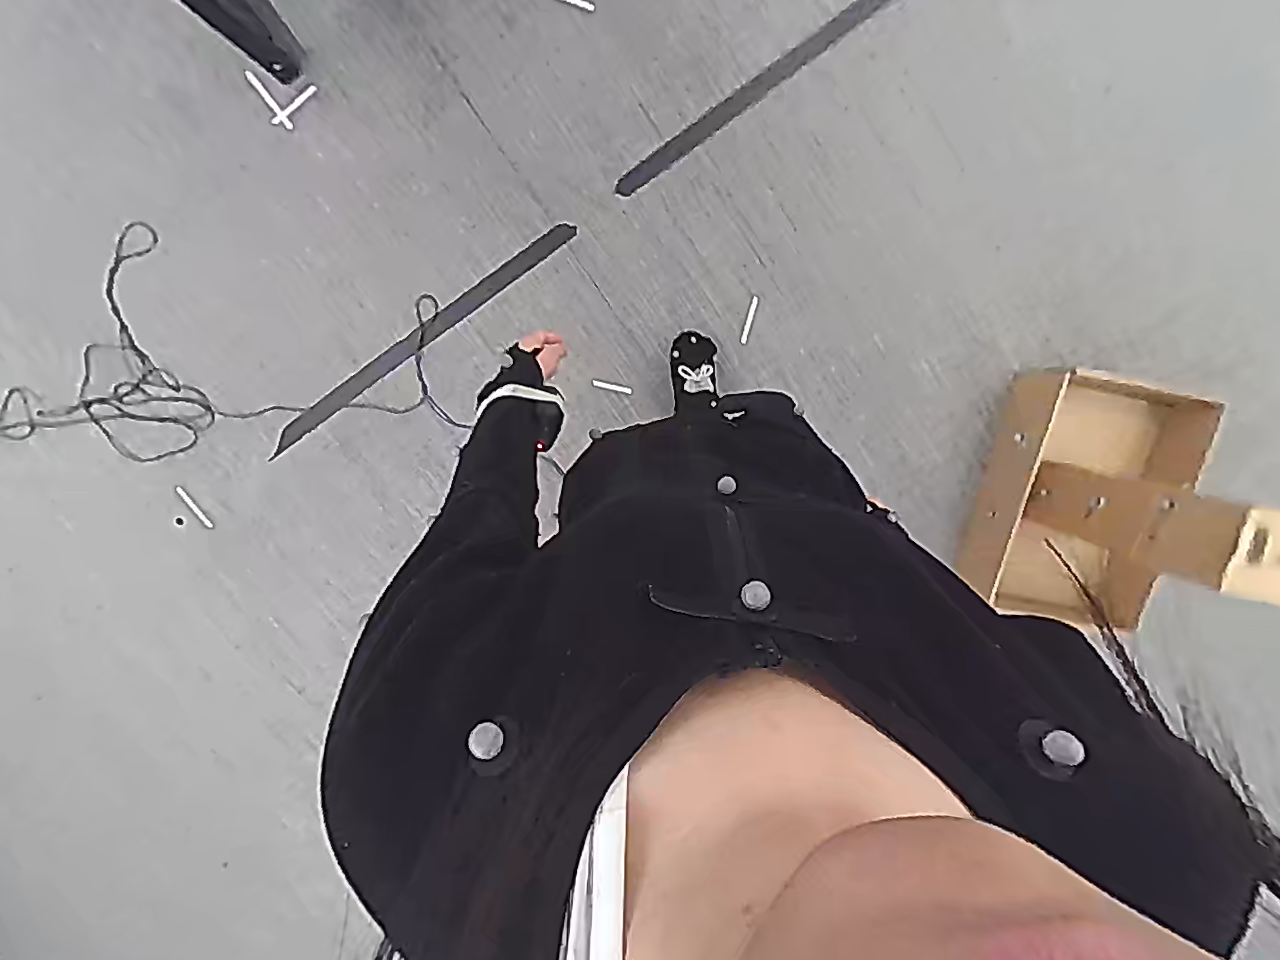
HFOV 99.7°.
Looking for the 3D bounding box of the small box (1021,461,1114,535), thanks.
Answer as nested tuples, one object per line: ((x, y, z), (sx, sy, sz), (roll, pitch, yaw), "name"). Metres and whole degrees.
((1.126, 0.058, 1.369), (0.179, 0.176, 0.168), (14, 100, -3), "small box")

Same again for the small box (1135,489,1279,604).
((1.134, 0.122, 1.049), (0.179, 0.176, 0.168), (12, 101, -4), "small box")

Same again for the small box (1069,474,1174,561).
((1.128, 0.091, 1.210), (0.179, 0.176, 0.168), (13, 100, -2), "small box")
